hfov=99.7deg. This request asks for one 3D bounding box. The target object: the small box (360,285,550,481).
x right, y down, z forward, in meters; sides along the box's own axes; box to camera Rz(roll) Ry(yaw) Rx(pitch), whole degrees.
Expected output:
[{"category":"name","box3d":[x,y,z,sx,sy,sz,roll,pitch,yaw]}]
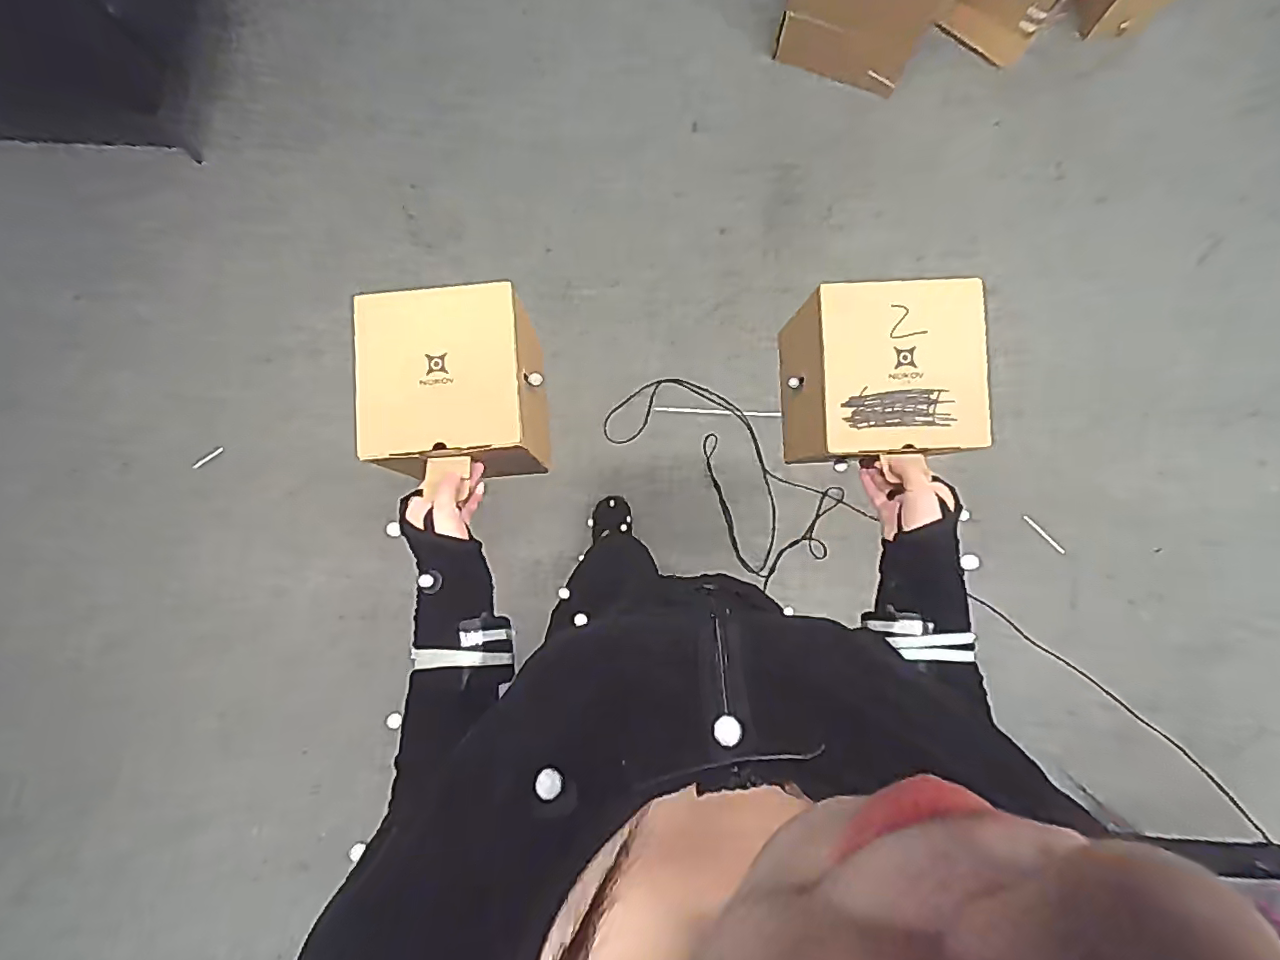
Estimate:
[{"category":"small box","box3d":[-0.202,-0.101,0.627,0.168,0.176,0.179,-5,83,0]}]
